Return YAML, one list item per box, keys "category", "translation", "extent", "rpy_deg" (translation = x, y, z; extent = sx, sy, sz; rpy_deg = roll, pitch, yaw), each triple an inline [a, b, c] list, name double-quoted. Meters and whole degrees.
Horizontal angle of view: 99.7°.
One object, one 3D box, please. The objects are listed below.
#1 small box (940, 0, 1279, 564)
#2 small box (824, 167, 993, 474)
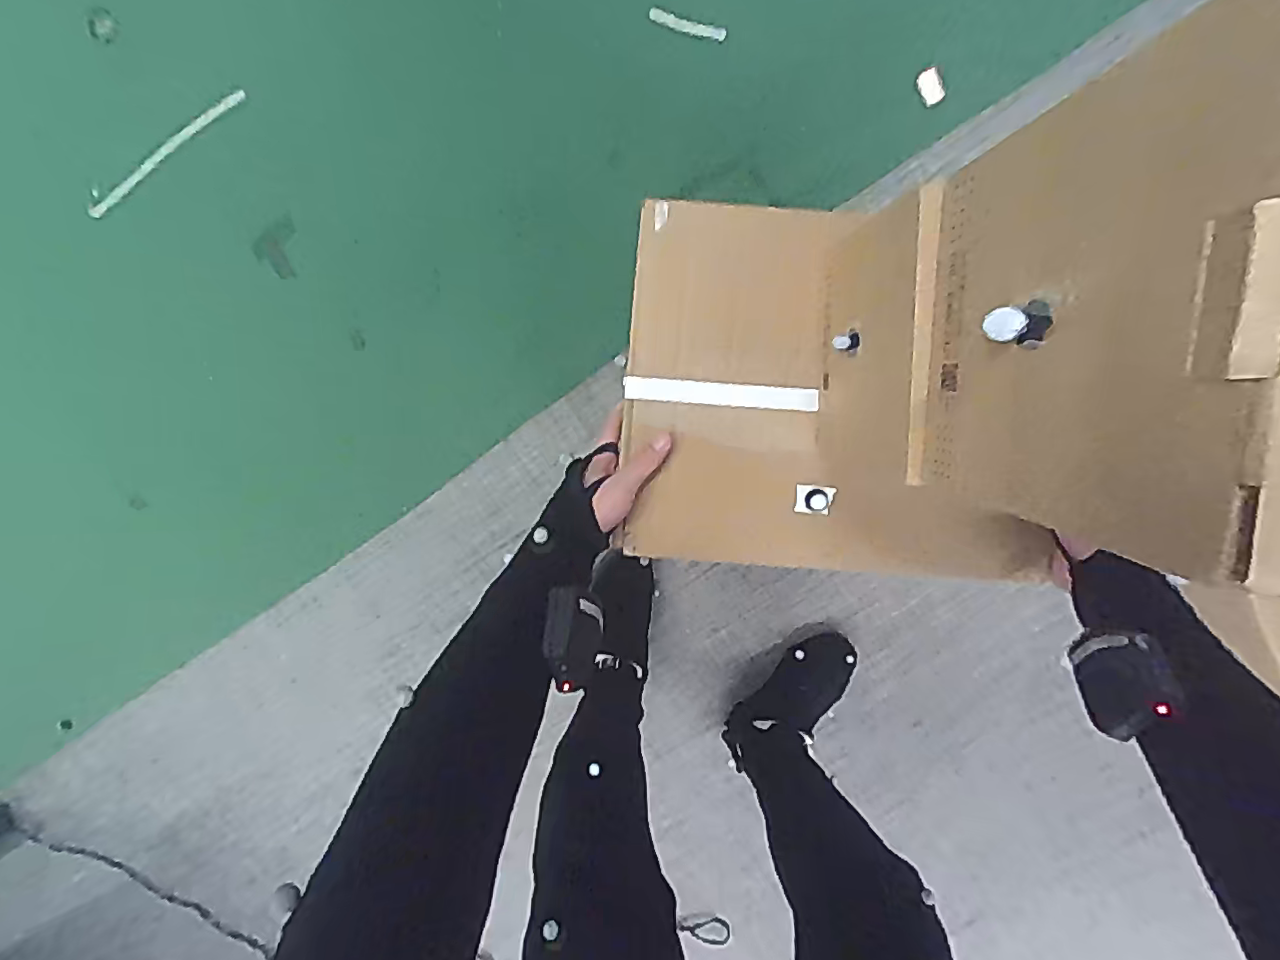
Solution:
- category: "small box"
  translation: [0.246, -0.070, 0.212]
  extent: [0.179, 0.176, 0.168]
  rpy_deg: [-1, 100, 2]
- category: "small box"
  translation: [0.237, -0.098, 0.373]
  extent: [0.179, 0.176, 0.168]
  rpy_deg: [-2, 100, 1]
